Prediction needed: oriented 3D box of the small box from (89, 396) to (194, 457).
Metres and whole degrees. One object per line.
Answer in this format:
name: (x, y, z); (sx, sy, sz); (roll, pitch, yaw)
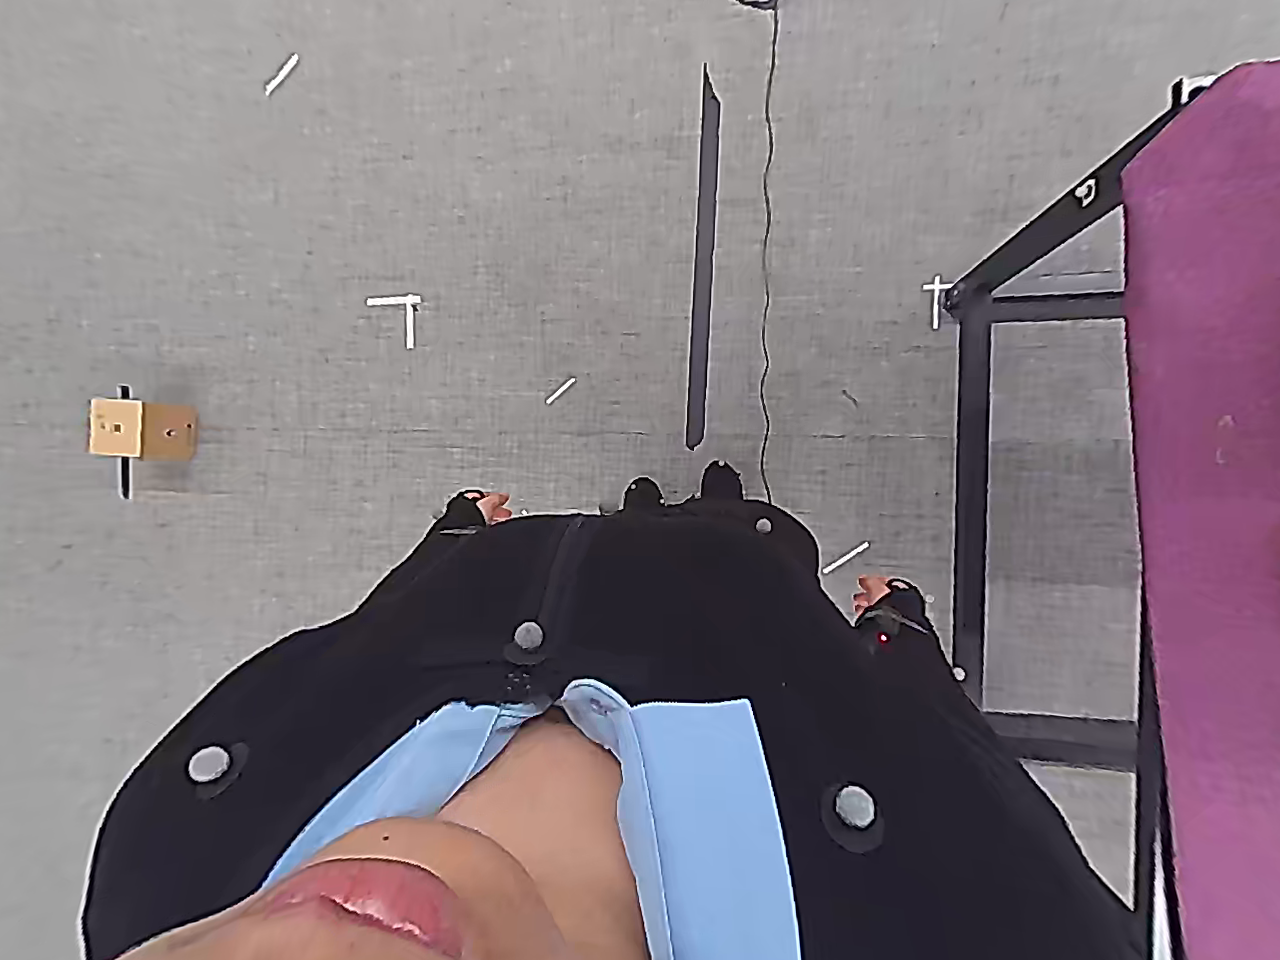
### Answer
small box: (-1.503, -0.157, 1.638); (0.179, 0.176, 0.168); (4, 91, 8)
